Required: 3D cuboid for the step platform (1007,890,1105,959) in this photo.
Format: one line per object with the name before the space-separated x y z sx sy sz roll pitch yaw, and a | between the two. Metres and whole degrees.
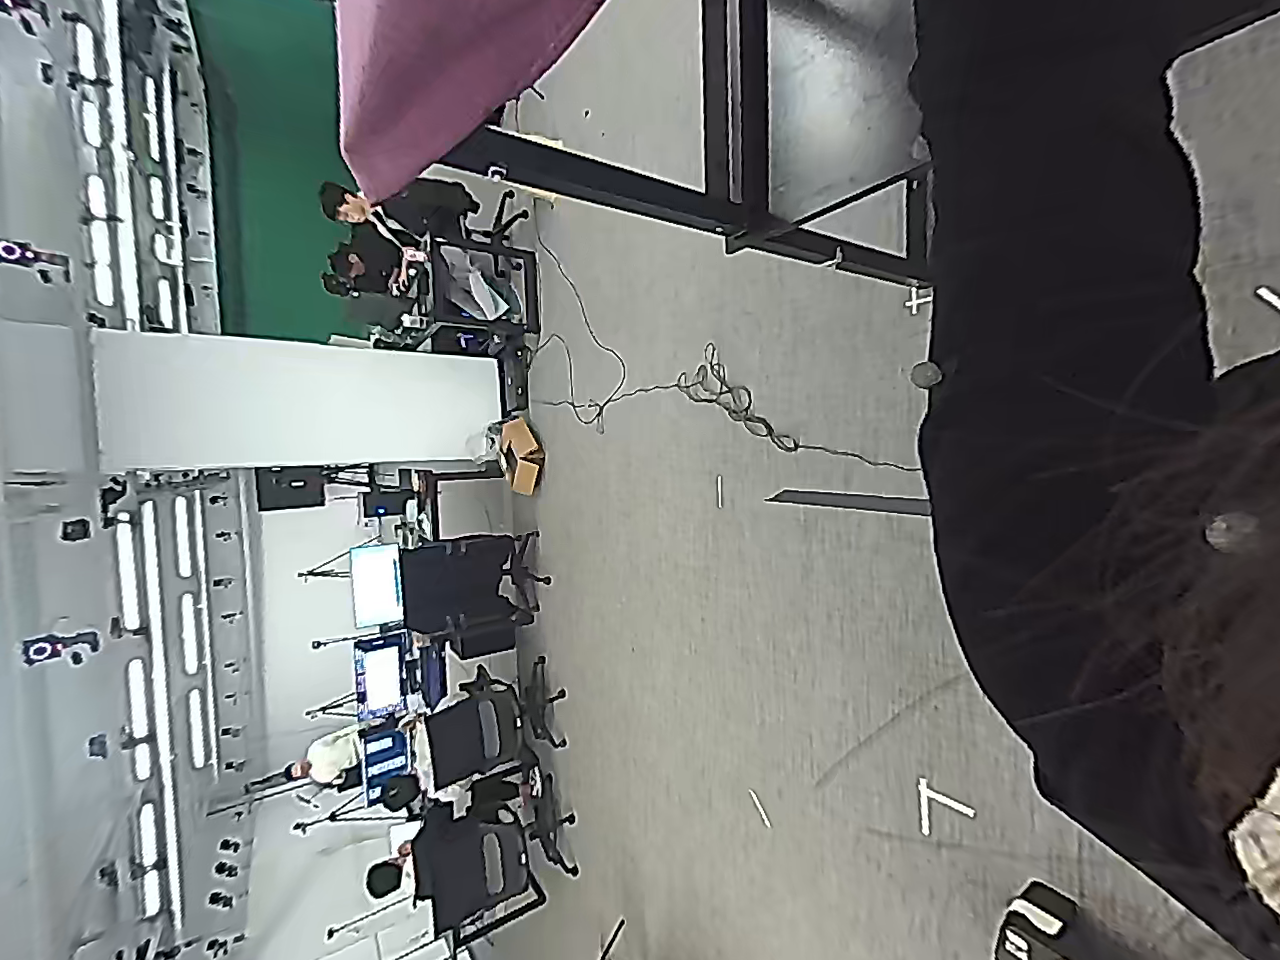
step platform | 1.113 1.196 1.049 0.684 0.204 0.286 14 104 55
